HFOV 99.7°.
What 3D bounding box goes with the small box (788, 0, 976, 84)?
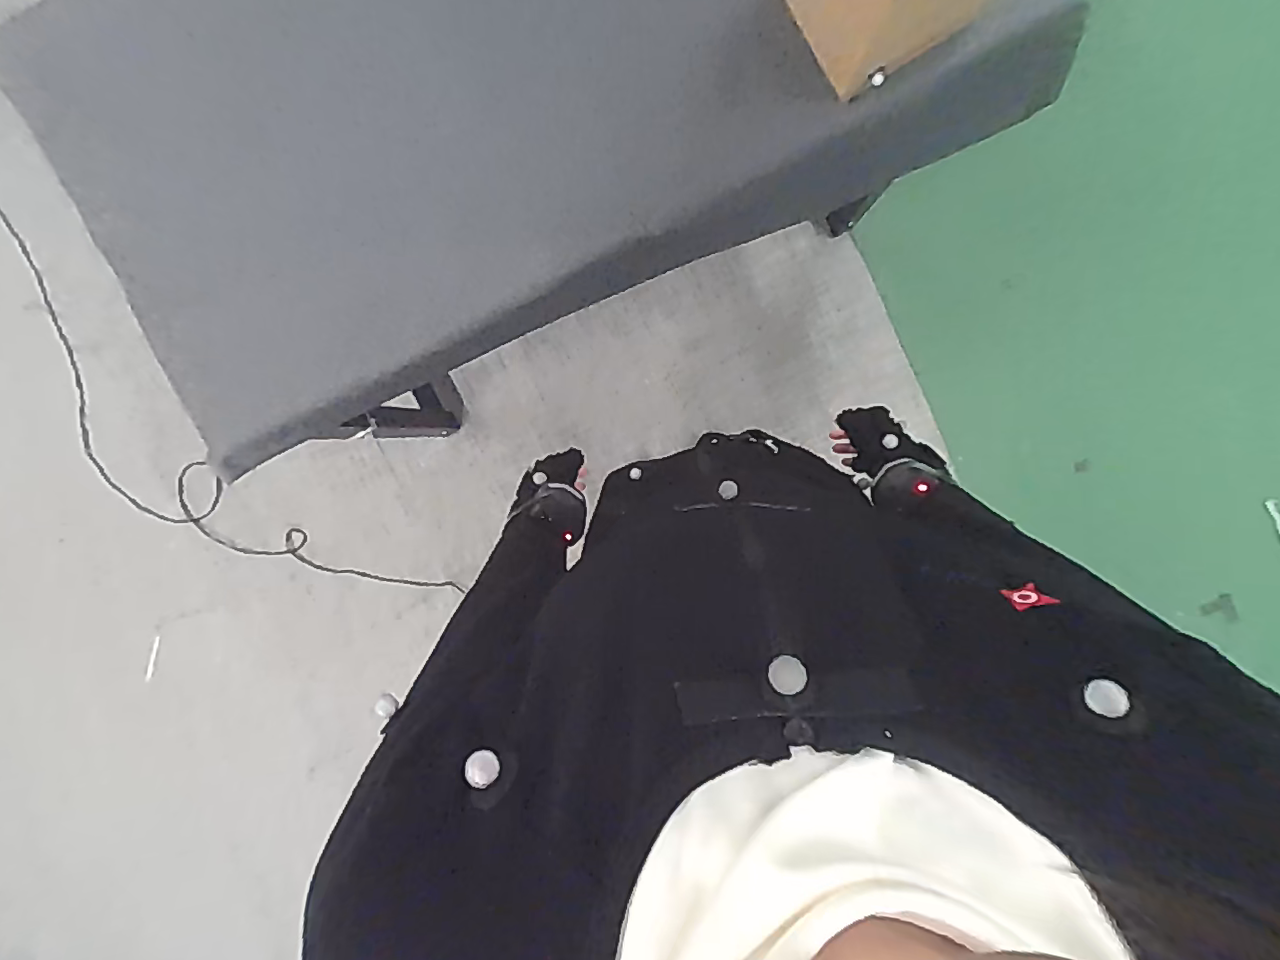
[{"bbox_3d":[0.266,-0.567,0.566,0.168,0.176,0.179,-30,91,5],"label":"small box"}]
